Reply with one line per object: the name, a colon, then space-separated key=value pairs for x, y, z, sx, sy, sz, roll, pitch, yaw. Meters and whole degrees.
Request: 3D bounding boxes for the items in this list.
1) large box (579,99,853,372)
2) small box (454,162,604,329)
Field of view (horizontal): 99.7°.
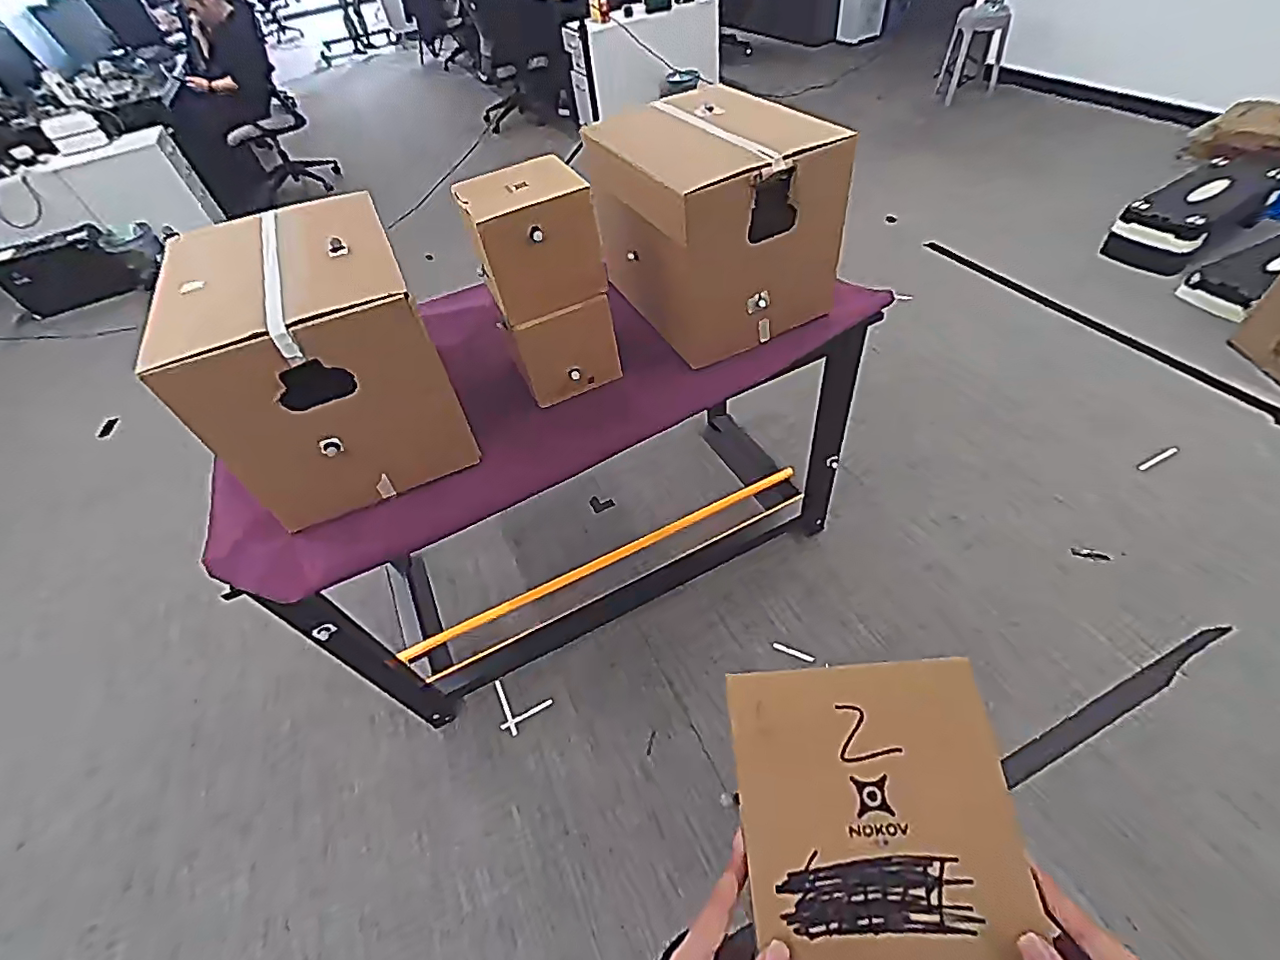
large box: x=0.129 y=-0.472 z=1.028 sx=0.320 sy=0.320 sz=0.408 roll=-25 pitch=49 yaw=-12
small box: x=-0.168 y=-0.373 z=0.865 sx=0.179 sy=0.176 sz=0.168 roll=-25 pitch=50 yaw=-10
